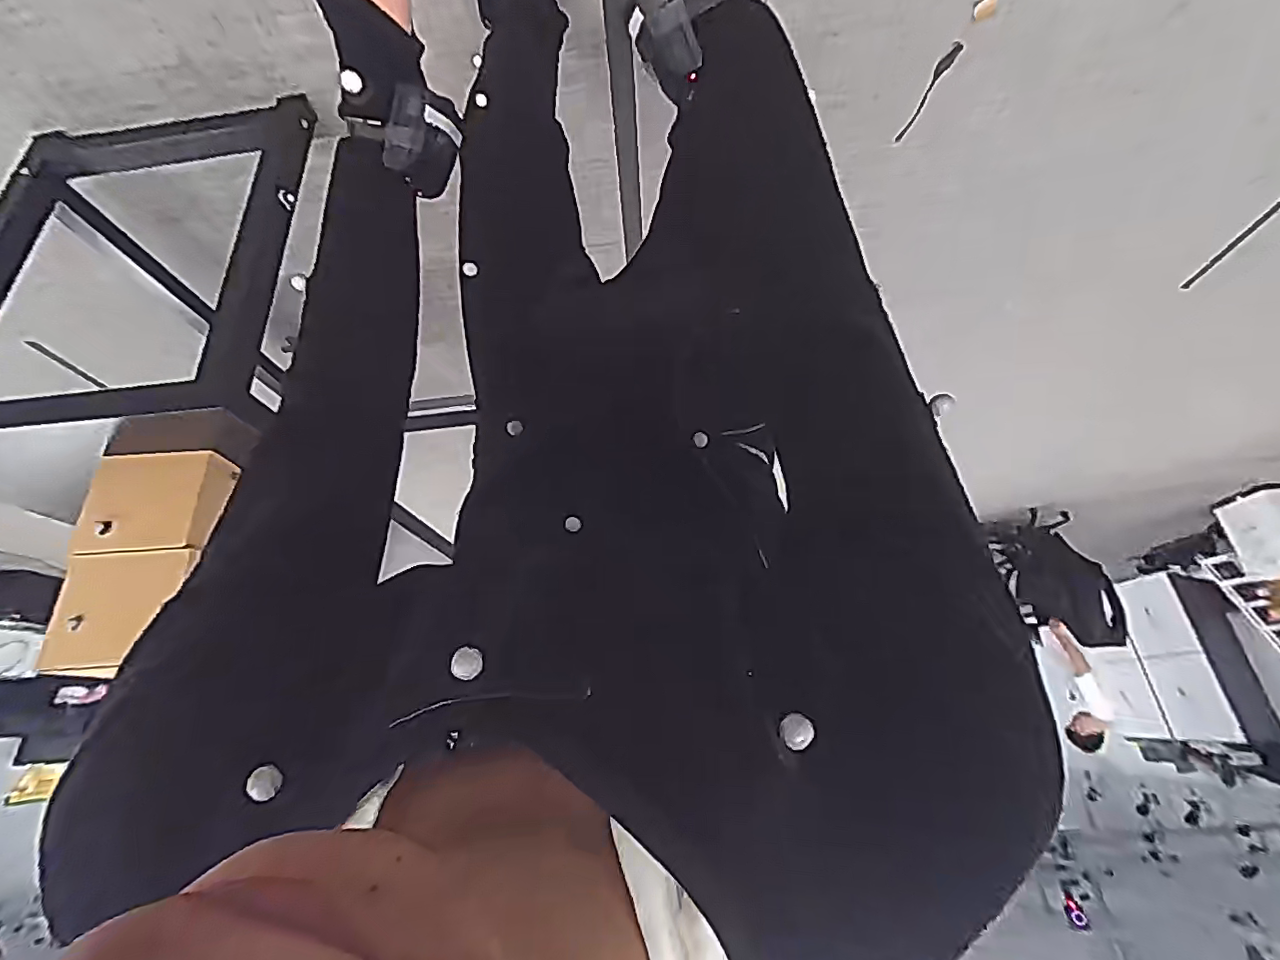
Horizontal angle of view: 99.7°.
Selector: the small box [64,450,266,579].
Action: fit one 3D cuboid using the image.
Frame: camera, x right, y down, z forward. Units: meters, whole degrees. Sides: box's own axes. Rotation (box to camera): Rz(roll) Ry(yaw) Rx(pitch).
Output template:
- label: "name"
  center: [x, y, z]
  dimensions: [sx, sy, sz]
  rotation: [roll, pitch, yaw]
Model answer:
- label: "small box"
  center: [-0.771, 0.059, 0.903]
  dimensions: [0.179, 0.176, 0.168]
  rotation: [-3, 158, -2]
